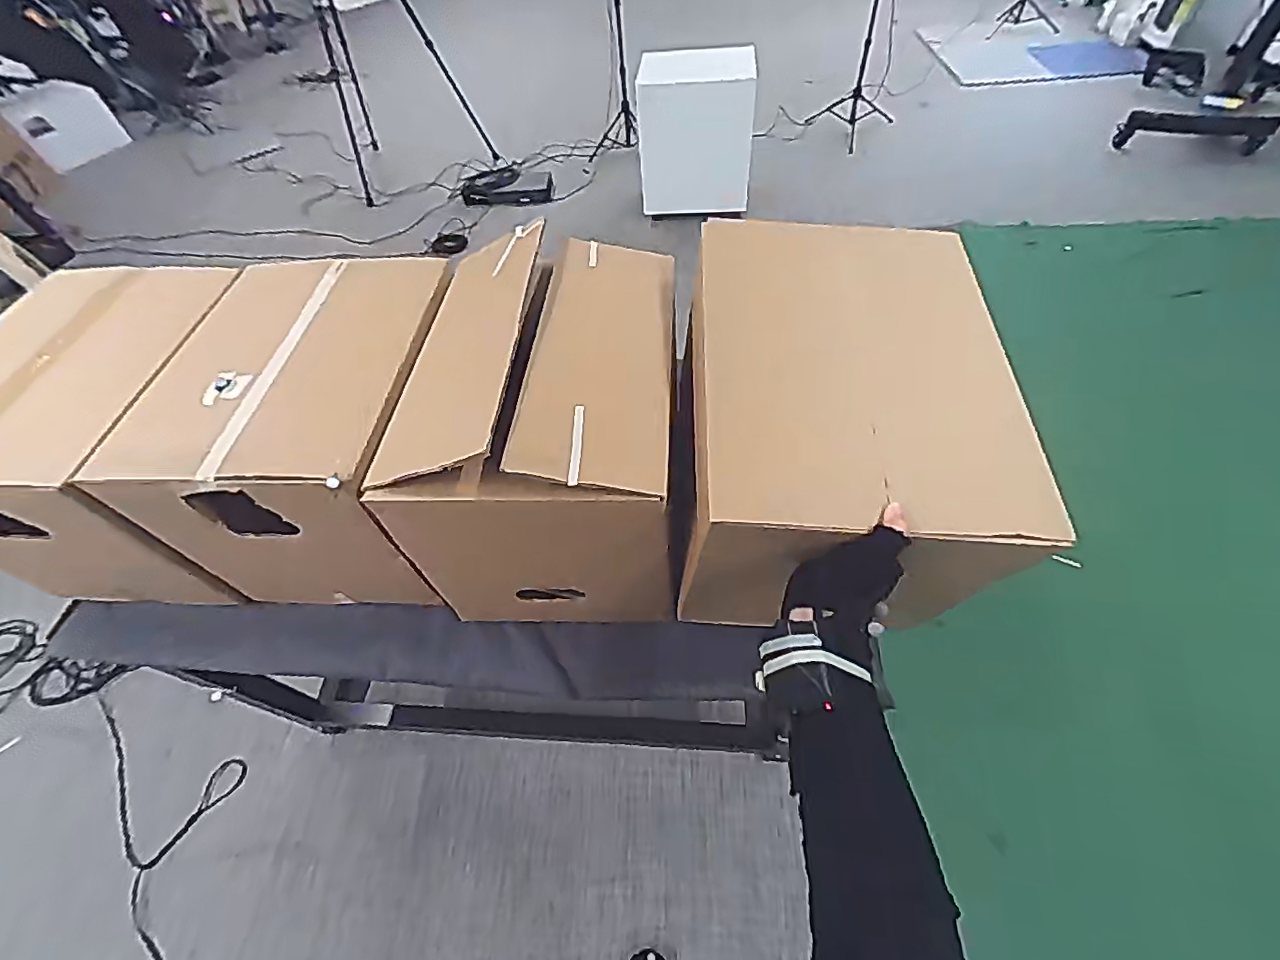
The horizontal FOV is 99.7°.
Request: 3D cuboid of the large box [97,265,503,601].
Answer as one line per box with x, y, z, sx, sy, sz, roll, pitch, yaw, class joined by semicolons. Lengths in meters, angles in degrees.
-0.422;-0.067;0.806;0.320;0.320;0.408;-1;54;5;large box
